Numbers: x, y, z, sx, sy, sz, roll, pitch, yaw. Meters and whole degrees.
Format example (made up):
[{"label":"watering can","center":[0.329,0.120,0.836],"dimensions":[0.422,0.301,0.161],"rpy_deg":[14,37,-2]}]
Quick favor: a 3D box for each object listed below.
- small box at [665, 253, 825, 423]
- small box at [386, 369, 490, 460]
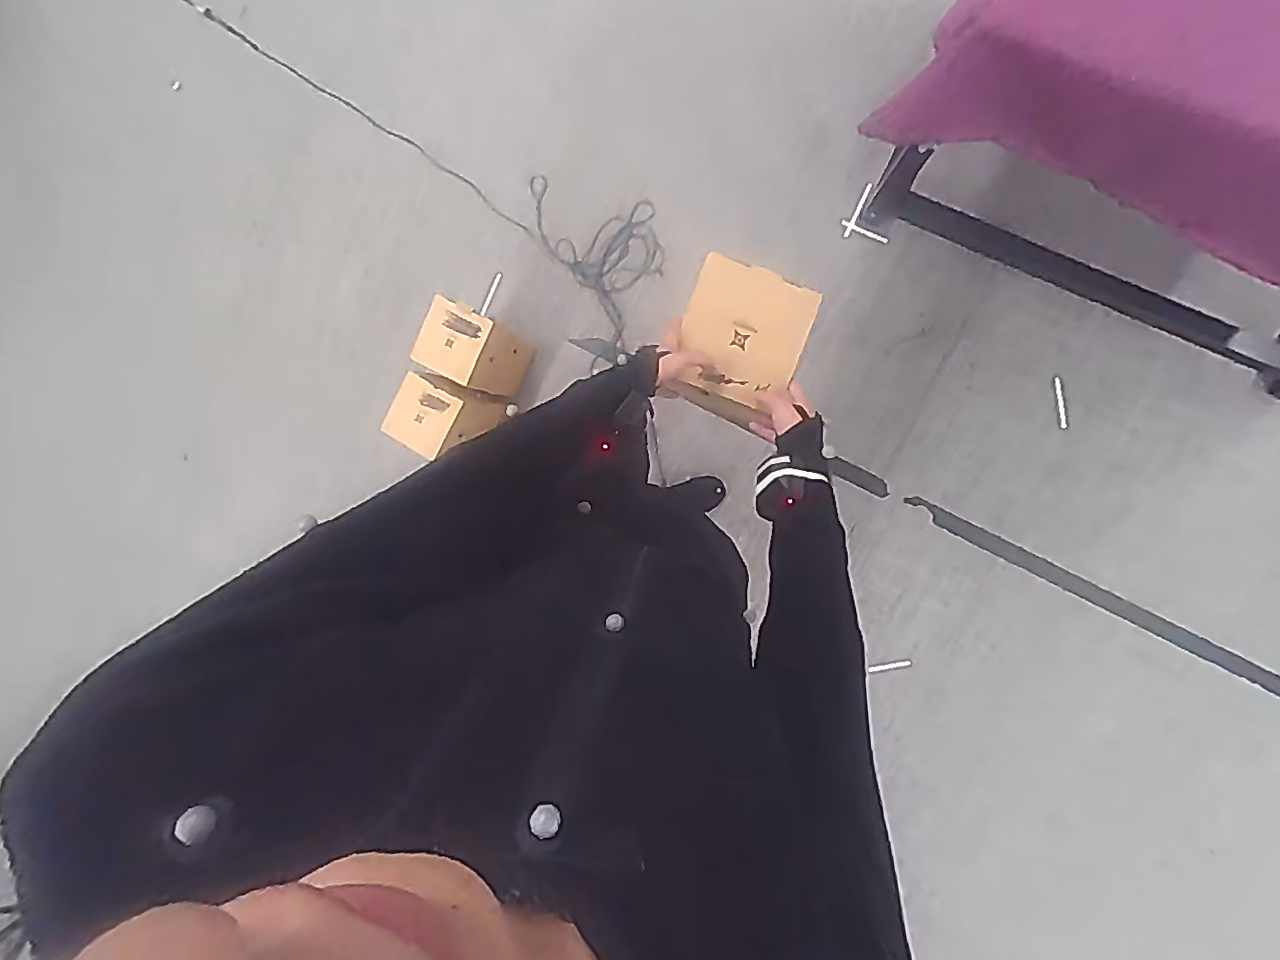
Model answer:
[{"label":"small box","center":[0.139,-0.194,0.794],"dimensions":[0.168,0.176,0.179],"rpy_deg":[22,94,0]},{"label":"small box","center":[-0.523,-0.173,1.430],"dimensions":[0.168,0.176,0.179],"rpy_deg":[32,101,5]}]
